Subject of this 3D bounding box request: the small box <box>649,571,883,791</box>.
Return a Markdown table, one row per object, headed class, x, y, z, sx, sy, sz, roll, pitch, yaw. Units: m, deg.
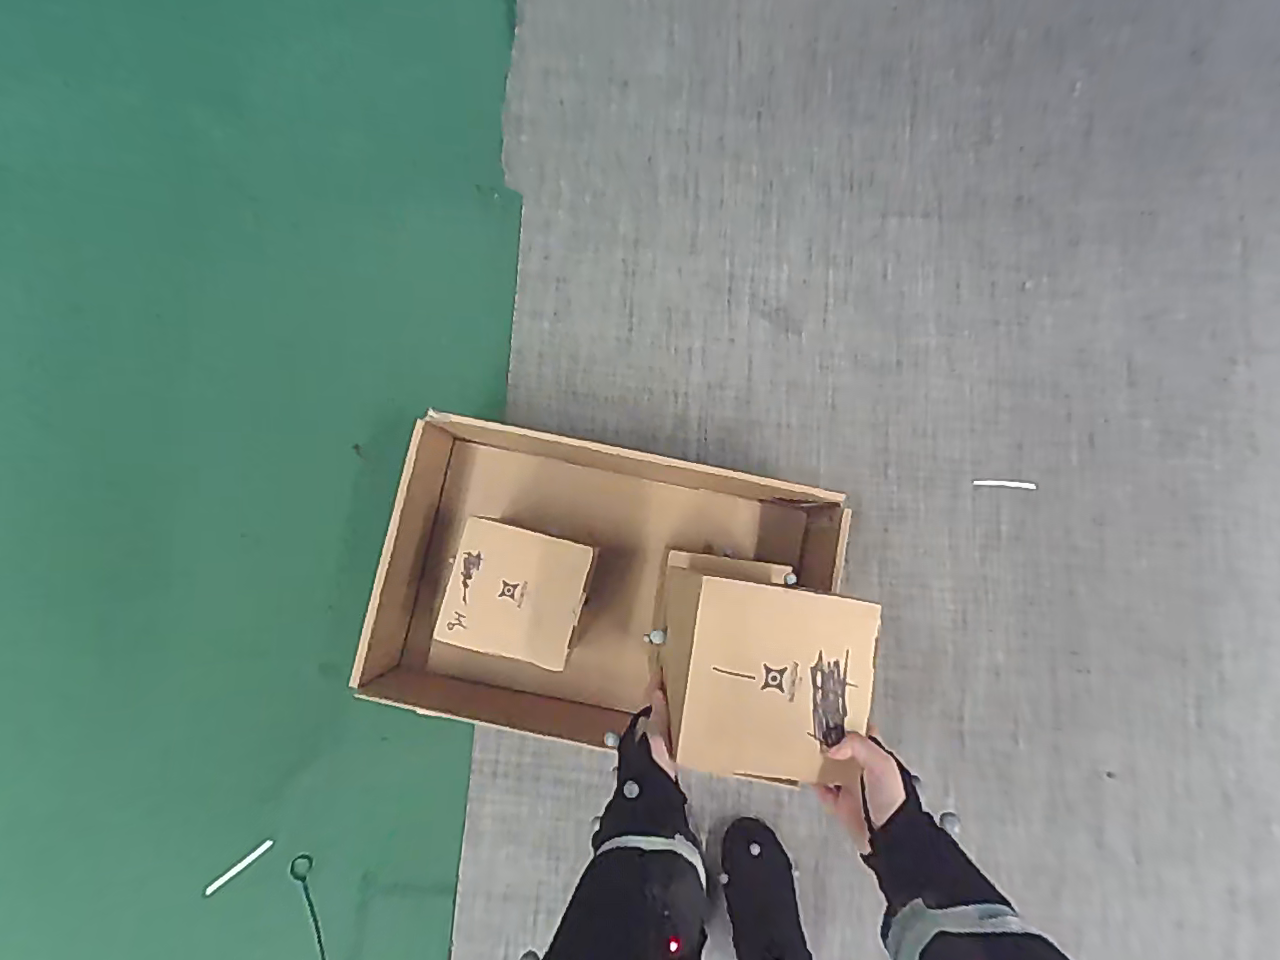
| class | x | y | z | sx | sy | sz | roll | pitch | yaw |
| --- | --- | --- | --- | --- | --- | --- | --- | --- | --- |
| small box | 0.117 | 0.190 | 0.559 | 0.179 | 0.176 | 0.168 | 11 | 82 | -6 |
